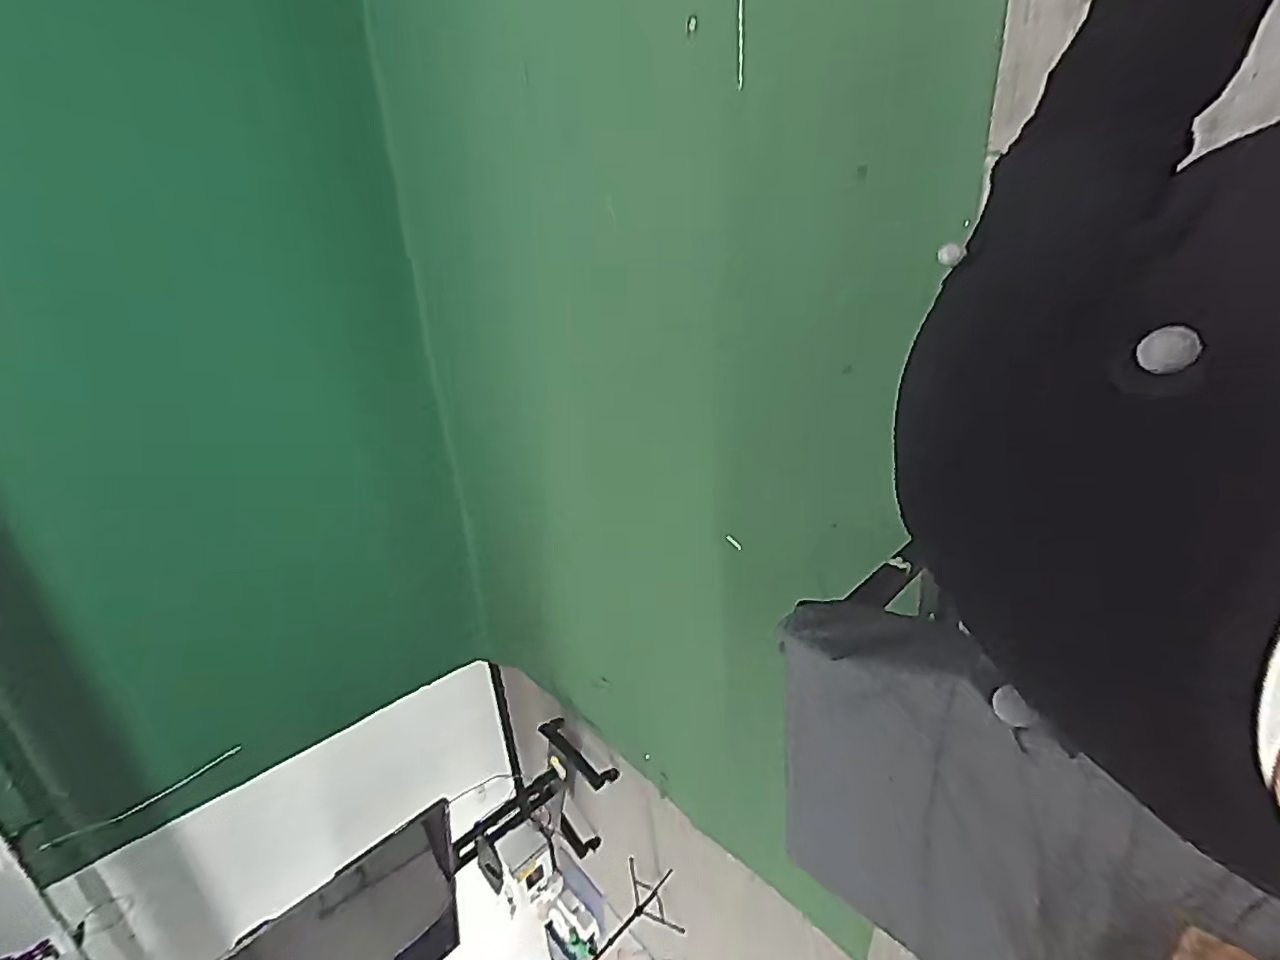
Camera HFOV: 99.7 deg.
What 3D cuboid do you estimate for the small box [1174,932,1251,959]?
[{"bbox_3d":[0.692,0.672,0.600,0.168,0.176,0.179,18,120,45],"label":"small box"}]
